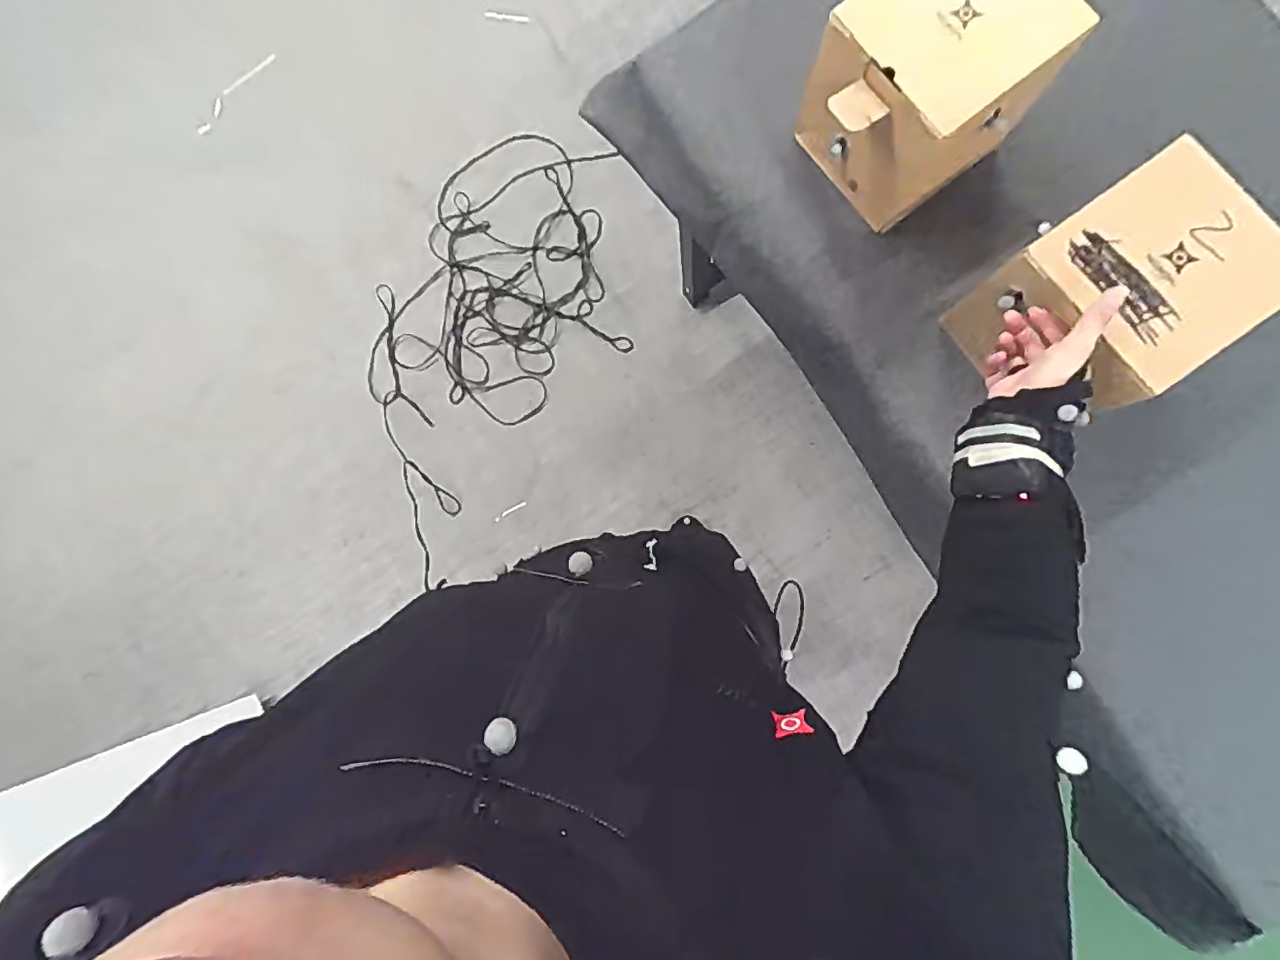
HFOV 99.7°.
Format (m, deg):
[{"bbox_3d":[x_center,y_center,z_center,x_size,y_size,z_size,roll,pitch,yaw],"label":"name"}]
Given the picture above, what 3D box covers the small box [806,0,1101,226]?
[{"bbox_3d":[0.305,-0.418,0.573,0.179,0.176,0.168,-37,84,2],"label":"small box"}]
